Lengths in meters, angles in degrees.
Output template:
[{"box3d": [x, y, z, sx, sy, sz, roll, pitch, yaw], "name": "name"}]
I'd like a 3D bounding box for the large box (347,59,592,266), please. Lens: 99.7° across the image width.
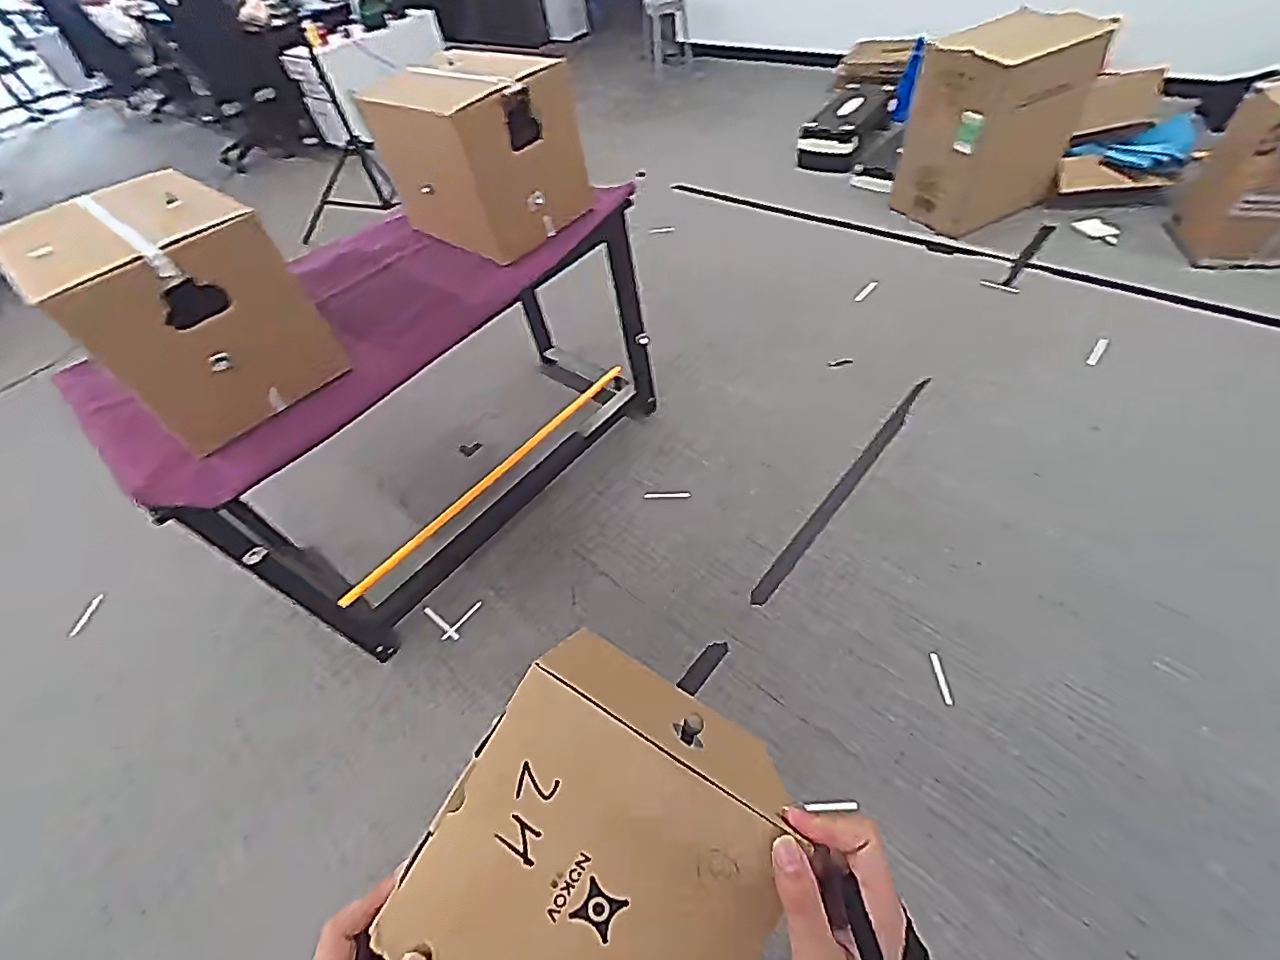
[{"box3d": [-0.384, -0.755, 1.278, 0.408, 0.320, 0.320, 29, 61, 30], "name": "large box"}]
